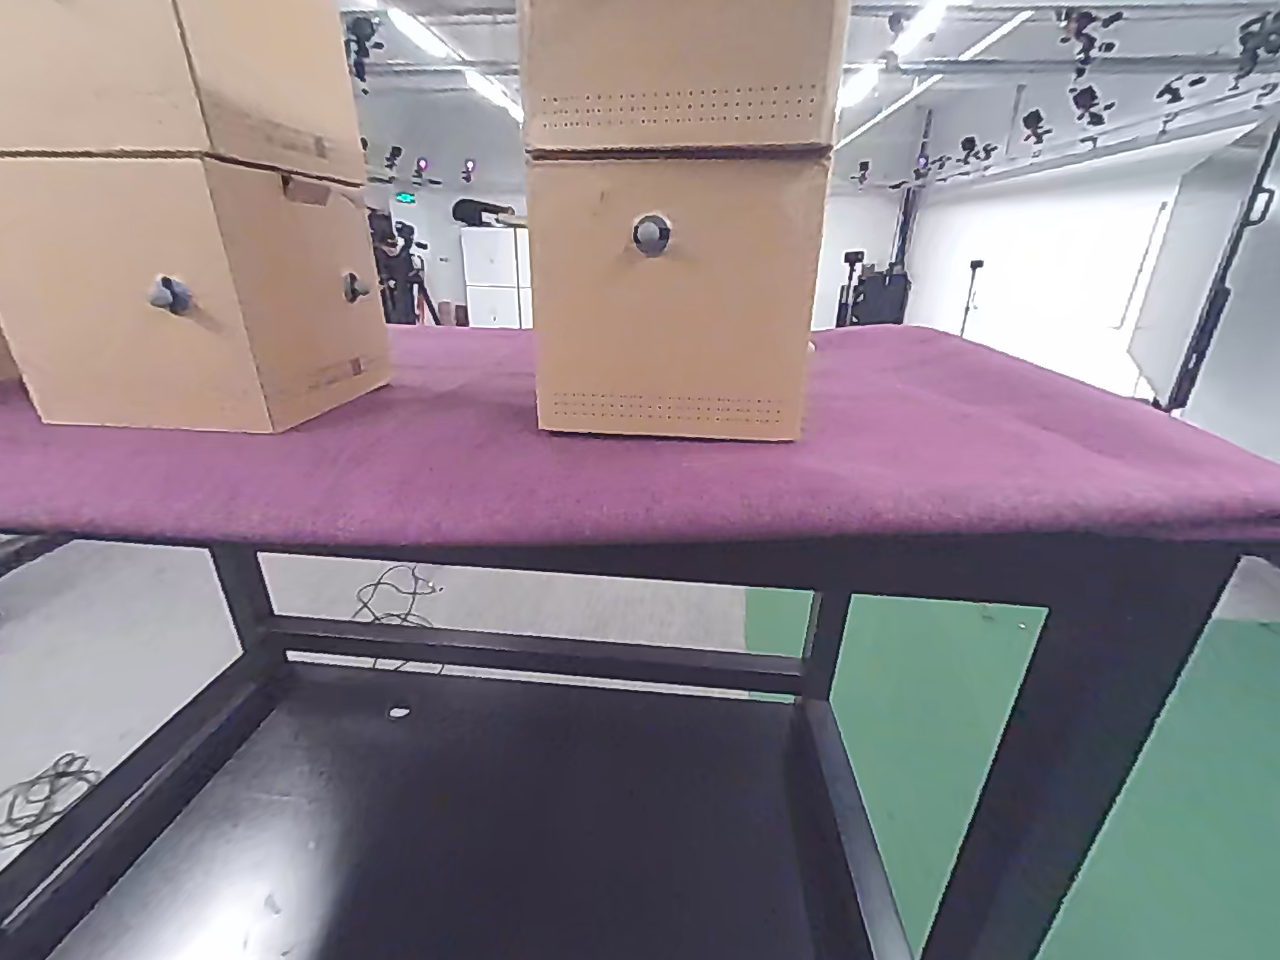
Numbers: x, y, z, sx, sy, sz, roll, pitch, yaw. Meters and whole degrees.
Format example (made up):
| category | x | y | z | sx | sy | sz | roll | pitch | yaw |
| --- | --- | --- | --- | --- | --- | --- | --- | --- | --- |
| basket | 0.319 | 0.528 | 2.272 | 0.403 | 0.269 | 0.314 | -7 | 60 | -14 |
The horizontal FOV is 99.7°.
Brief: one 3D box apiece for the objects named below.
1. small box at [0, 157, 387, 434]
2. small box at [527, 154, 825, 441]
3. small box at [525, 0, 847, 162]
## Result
| category | x | y | z | sx | sy | sz | roll | pitch | yaw |
| --- | --- | --- | --- | --- | --- | --- | --- | --- | --- |
| small box | -0.322 | -0.138 | 0.414 | 0.179 | 0.176 | 0.168 | 2 | 23 | 4 |
| small box | 0.027 | -0.131 | 0.408 | 0.179 | 0.176 | 0.168 | 4 | 21 | 6 |
| small box | 0.032 | -0.283 | 0.345 | 0.179 | 0.176 | 0.168 | 4 | 21 | 9 |
